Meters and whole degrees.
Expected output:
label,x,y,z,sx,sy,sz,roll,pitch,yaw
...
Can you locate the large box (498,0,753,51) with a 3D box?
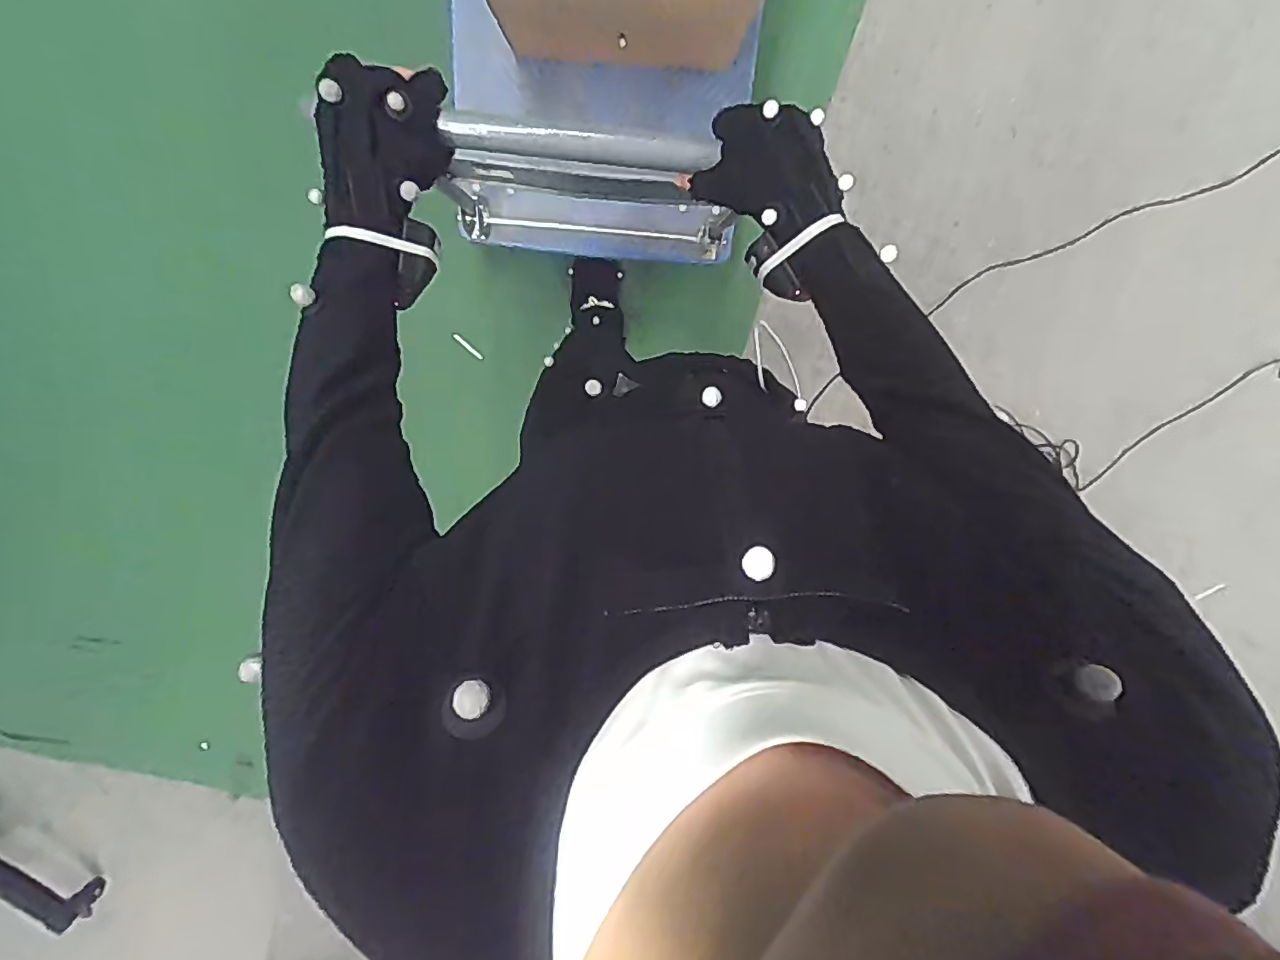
label,x,y,z,sx,sy,sz,roll,pitch,yaw
large box,-0.020,-0.901,0.830,0.408,0.320,0.320,2,111,-1
